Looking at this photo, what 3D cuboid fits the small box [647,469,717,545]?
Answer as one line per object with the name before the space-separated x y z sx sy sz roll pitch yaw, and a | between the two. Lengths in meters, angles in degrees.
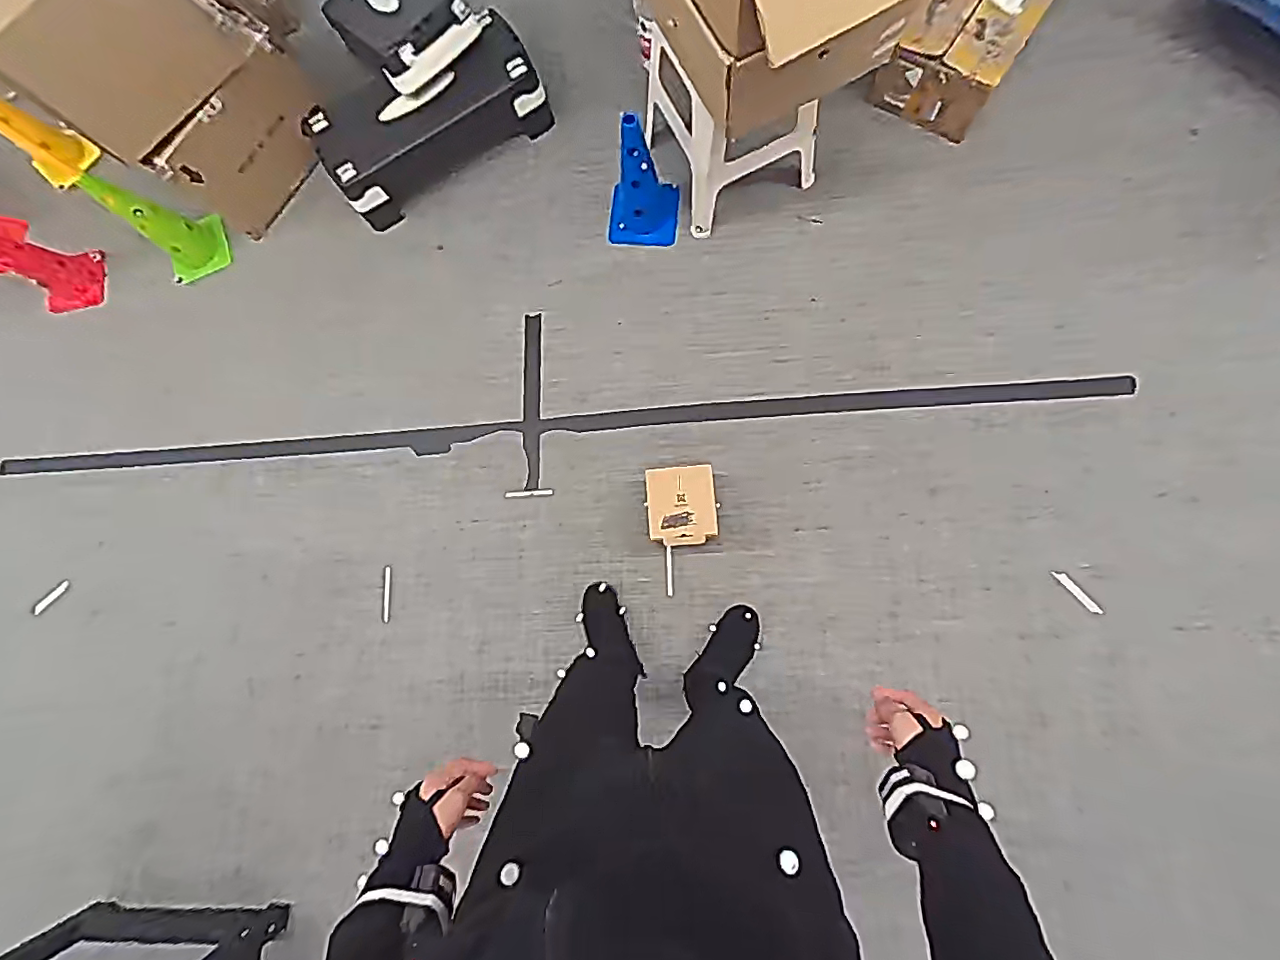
small box | 0.112 0.076 1.393 0.168 0.176 0.179 -5 80 6
